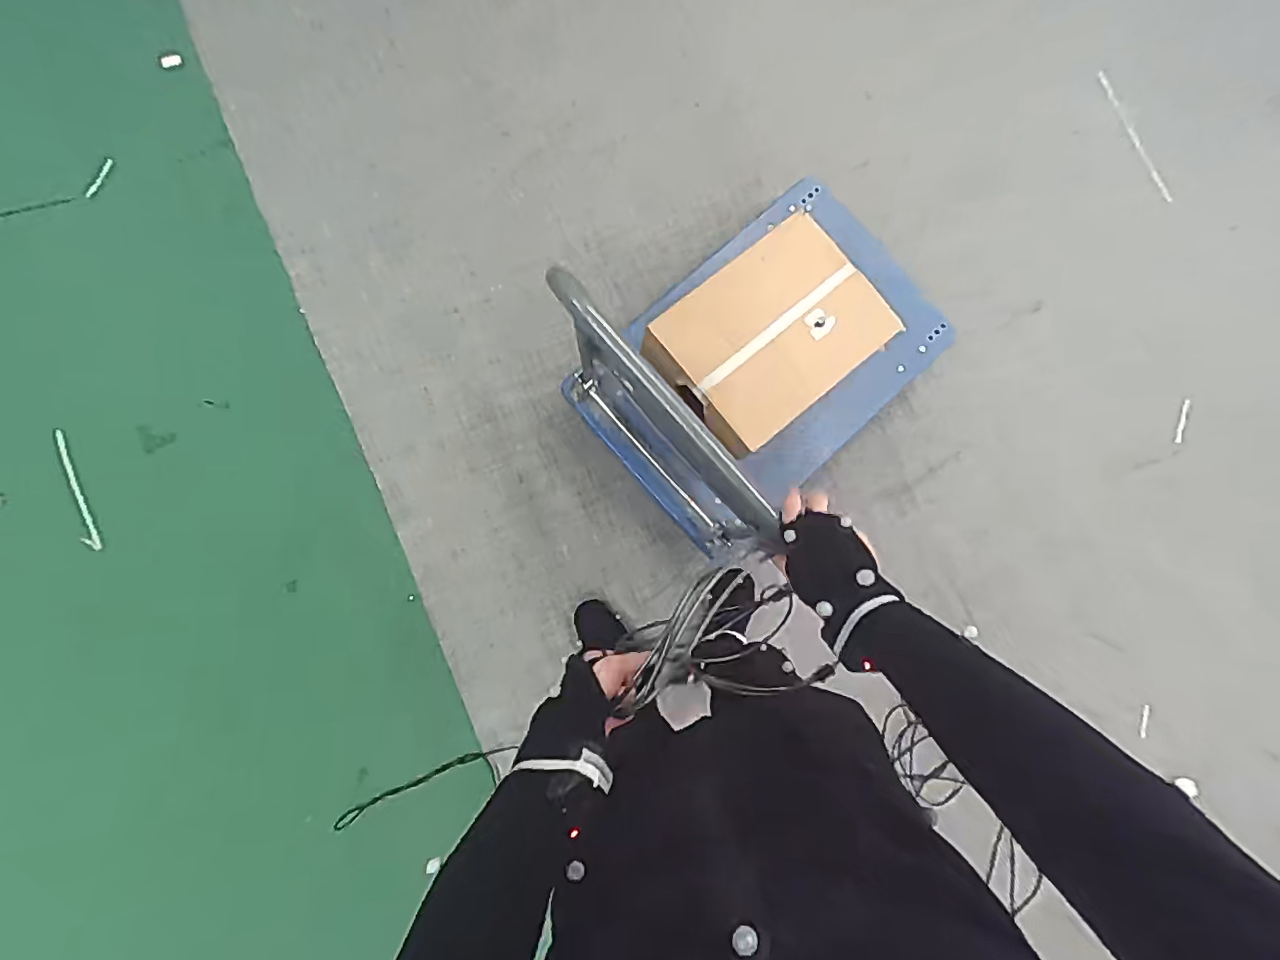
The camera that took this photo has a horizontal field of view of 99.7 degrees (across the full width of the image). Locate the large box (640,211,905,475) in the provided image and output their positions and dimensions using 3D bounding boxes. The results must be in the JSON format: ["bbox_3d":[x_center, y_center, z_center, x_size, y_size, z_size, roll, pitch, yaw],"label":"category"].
[{"bbox_3d":[0.254,-0.266,1.166,0.408,0.320,0.320,-40,89,-8],"label":"large box"}]
